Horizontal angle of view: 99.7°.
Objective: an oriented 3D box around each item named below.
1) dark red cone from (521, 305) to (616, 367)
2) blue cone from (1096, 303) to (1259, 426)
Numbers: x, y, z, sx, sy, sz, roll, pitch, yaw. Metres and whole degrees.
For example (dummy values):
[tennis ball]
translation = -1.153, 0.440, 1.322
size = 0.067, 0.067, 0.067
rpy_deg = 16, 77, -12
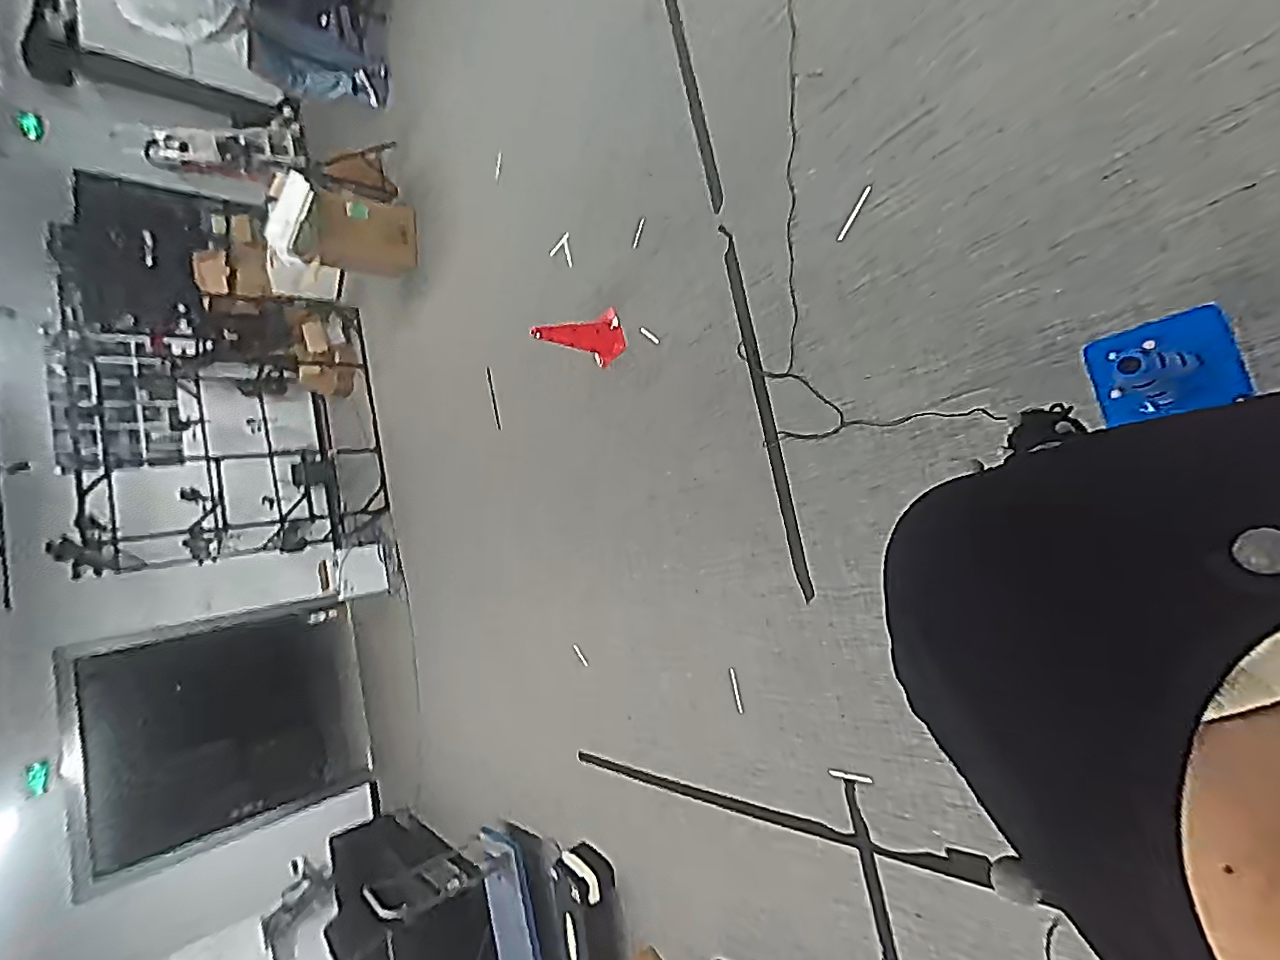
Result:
[dark red cone]
translation = -0.294, -0.591, 2.166
size = 0.201, 0.394, 0.202
rpy_deg = -30, 72, 47
[blue cone]
translation = 0.849, -0.192, 0.887
size = 0.192, 0.380, 0.193
rpy_deg = -18, 81, 49
